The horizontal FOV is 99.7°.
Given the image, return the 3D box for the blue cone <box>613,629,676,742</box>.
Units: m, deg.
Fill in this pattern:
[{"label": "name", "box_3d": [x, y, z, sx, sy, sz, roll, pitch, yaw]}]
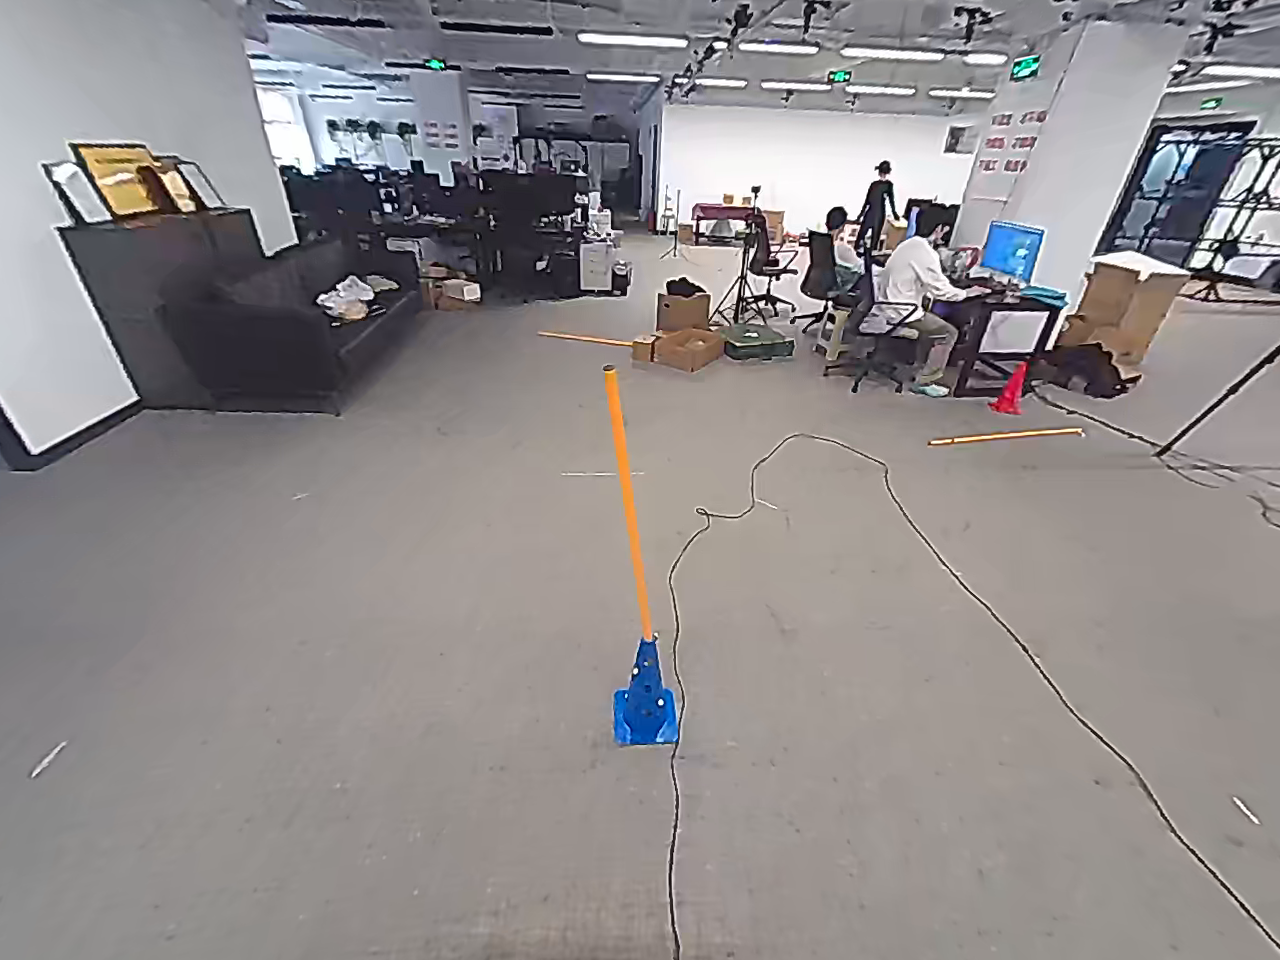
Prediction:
[{"label": "blue cone", "box_3d": [0.015, 0.609, 1.650, 0.193, 0.380, 0.192, -3, 31, -5]}]
